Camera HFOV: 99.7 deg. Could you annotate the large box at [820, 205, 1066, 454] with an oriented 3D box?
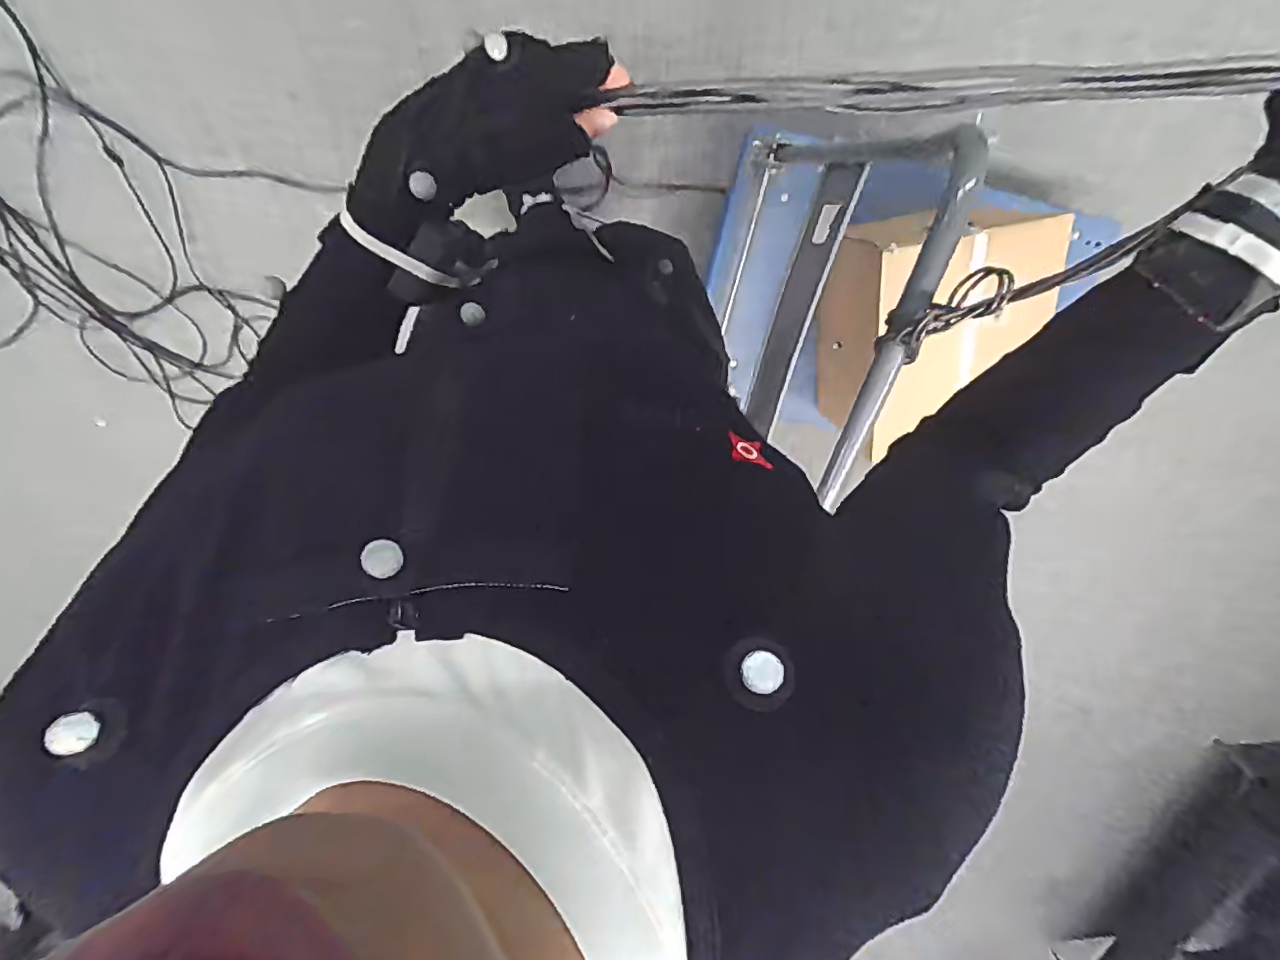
[{"bbox_3d":[0.568,-0.314,1.106,0.320,0.320,0.408,-9,119,1],"label":"large box"}]
